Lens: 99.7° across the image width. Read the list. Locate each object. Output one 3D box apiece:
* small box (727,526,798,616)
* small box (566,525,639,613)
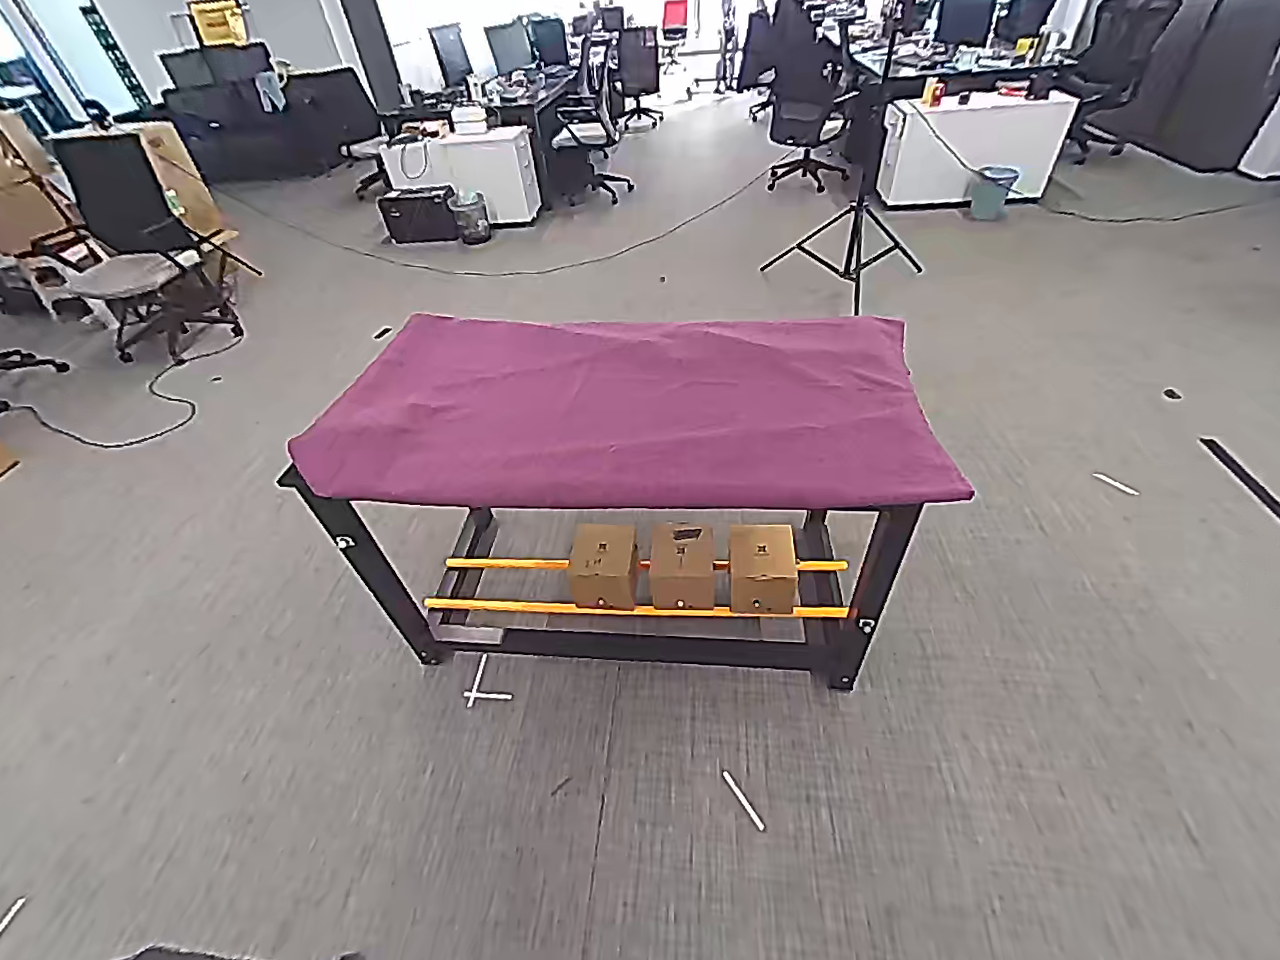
[{"bbox_3d":[0.321,0.243,1.450,0.168,0.176,0.179,-1,45,7],"label":"small box"},{"bbox_3d":[-0.097,0.246,1.501,0.168,0.176,0.179,1,45,8],"label":"small box"}]
